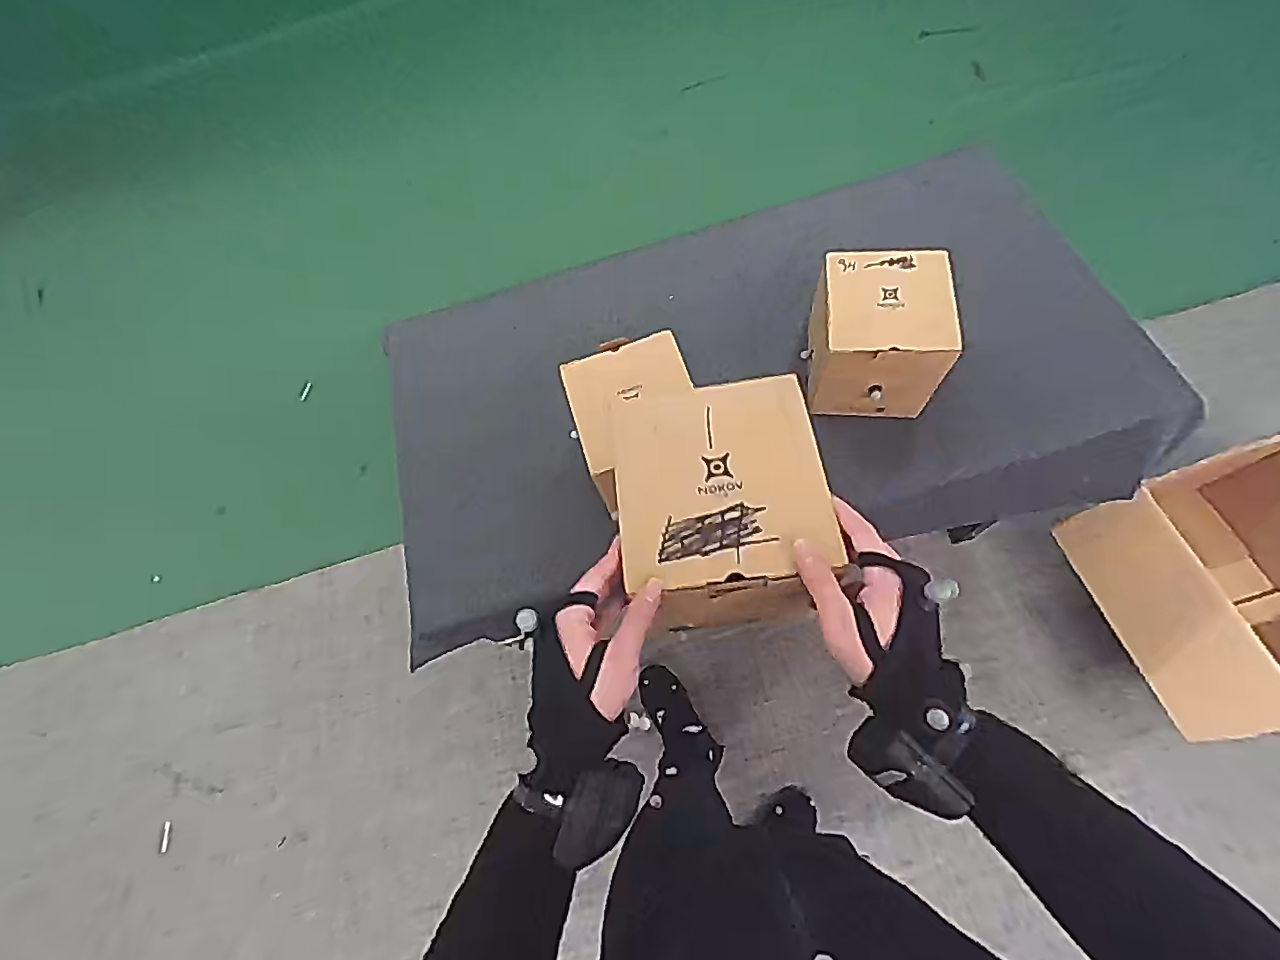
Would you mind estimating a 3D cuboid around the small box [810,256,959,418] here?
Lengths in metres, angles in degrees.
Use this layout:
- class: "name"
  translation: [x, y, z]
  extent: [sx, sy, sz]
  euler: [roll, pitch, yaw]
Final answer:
- class: "small box"
  translation: [0.354, -0.207, 0.813]
  extent: [0.168, 0.176, 0.179]
  euler: [3, 68, 9]

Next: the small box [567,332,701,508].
- class: "small box"
  translation: [0.007, -0.076, 0.786]
  extent: [0.168, 0.176, 0.179]
  euler: [-19, 66, 0]

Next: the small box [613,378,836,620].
- class: "small box"
  translation: [0.071, 0.031, 0.517]
  extent: [0.168, 0.176, 0.179]
  euler: [-7, 63, 3]
